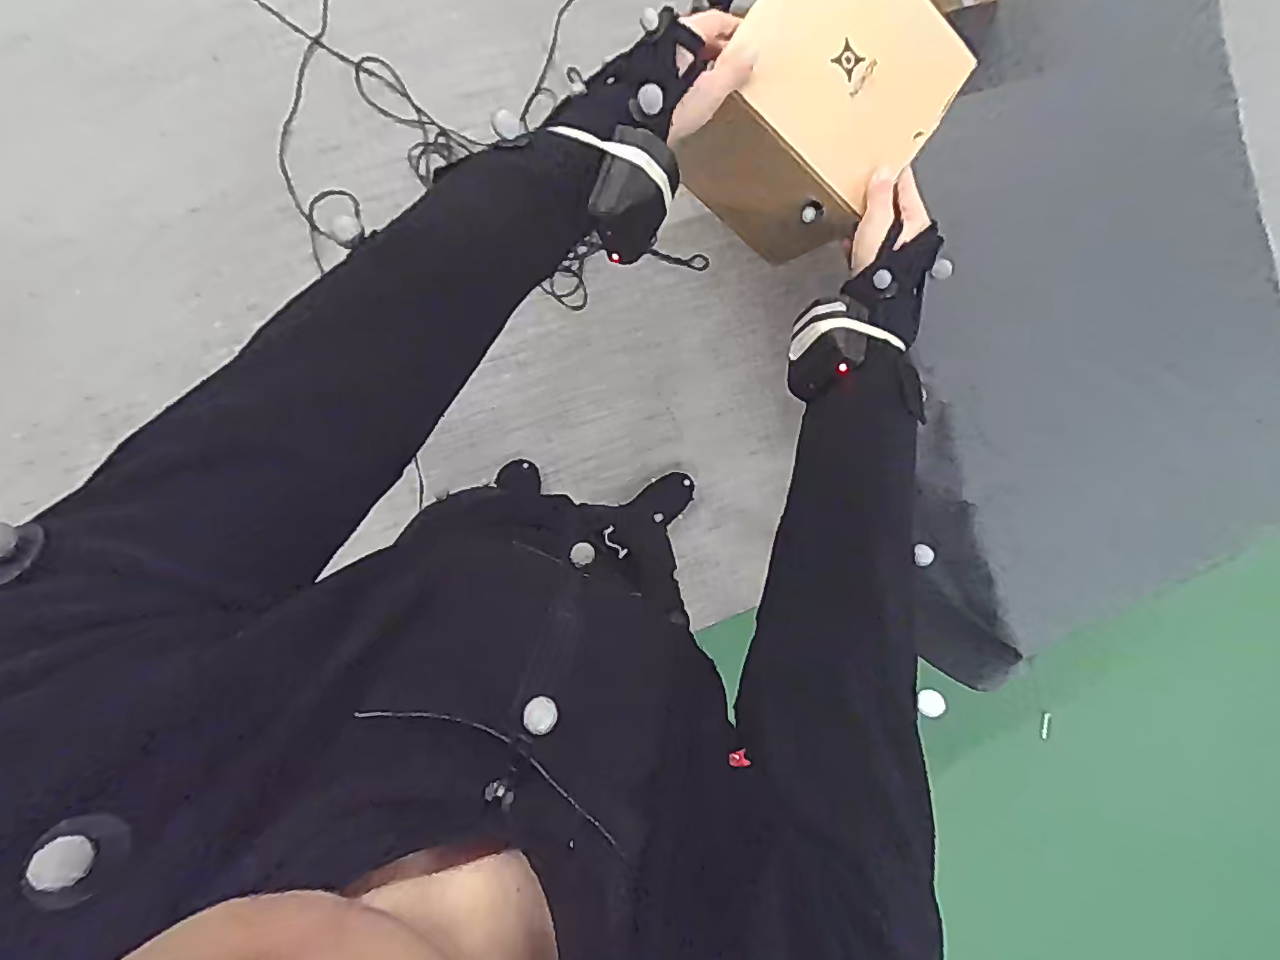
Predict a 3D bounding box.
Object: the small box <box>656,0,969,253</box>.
[{"bbox_3d":[0.139,-0.340,0.496,0.179,0.176,0.168,34,90,-17],"label":"small box"}]
